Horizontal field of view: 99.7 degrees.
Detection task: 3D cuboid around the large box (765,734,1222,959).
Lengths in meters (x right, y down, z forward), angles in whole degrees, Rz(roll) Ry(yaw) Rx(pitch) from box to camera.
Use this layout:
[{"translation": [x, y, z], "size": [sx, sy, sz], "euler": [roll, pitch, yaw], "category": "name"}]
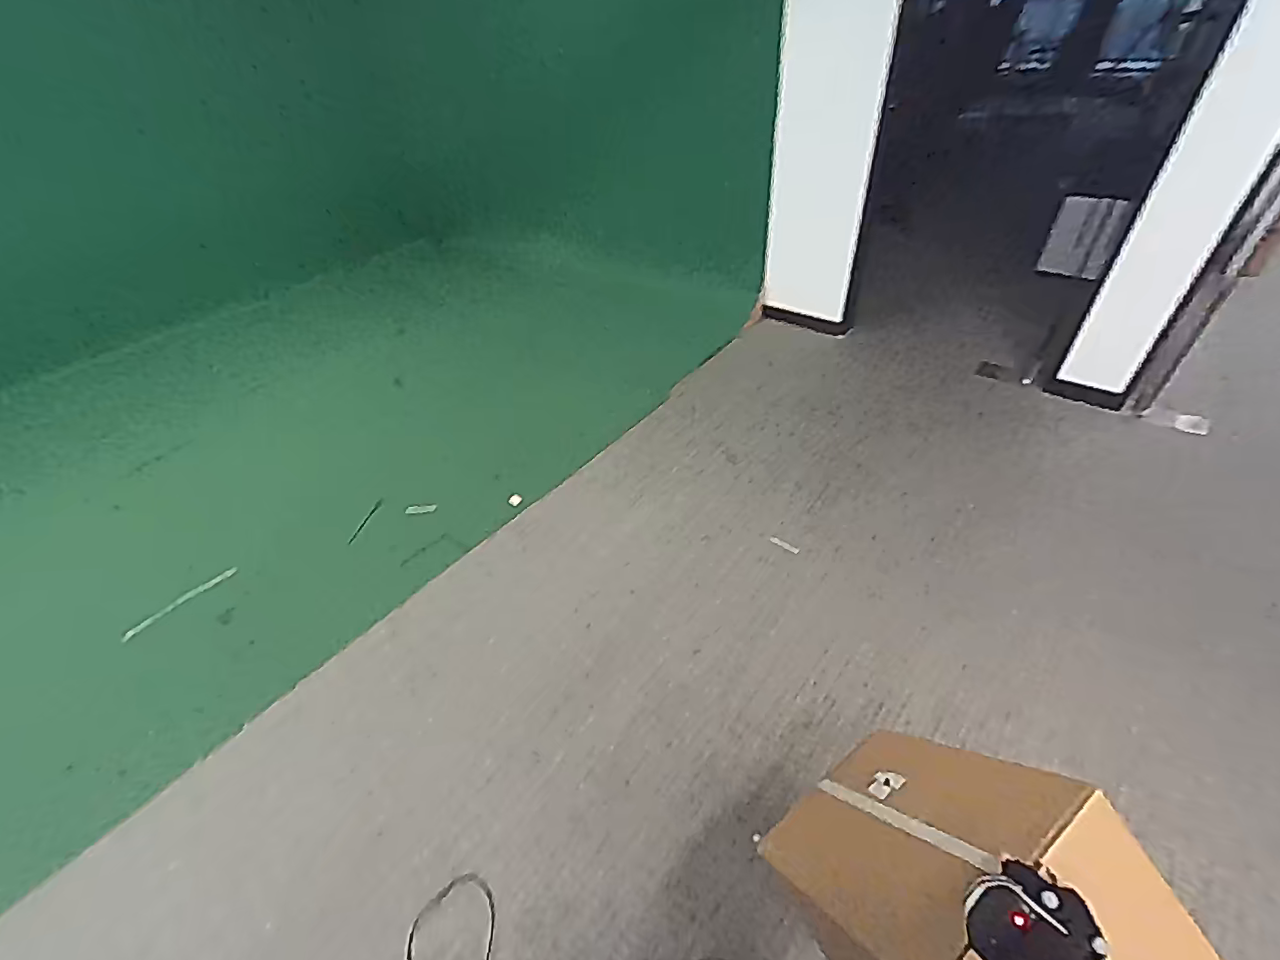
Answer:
[{"translation": [0.455, 0.611, 0.752], "size": [0.320, 0.408, 0.320], "euler": [-31, 81, -19], "category": "large box"}]
